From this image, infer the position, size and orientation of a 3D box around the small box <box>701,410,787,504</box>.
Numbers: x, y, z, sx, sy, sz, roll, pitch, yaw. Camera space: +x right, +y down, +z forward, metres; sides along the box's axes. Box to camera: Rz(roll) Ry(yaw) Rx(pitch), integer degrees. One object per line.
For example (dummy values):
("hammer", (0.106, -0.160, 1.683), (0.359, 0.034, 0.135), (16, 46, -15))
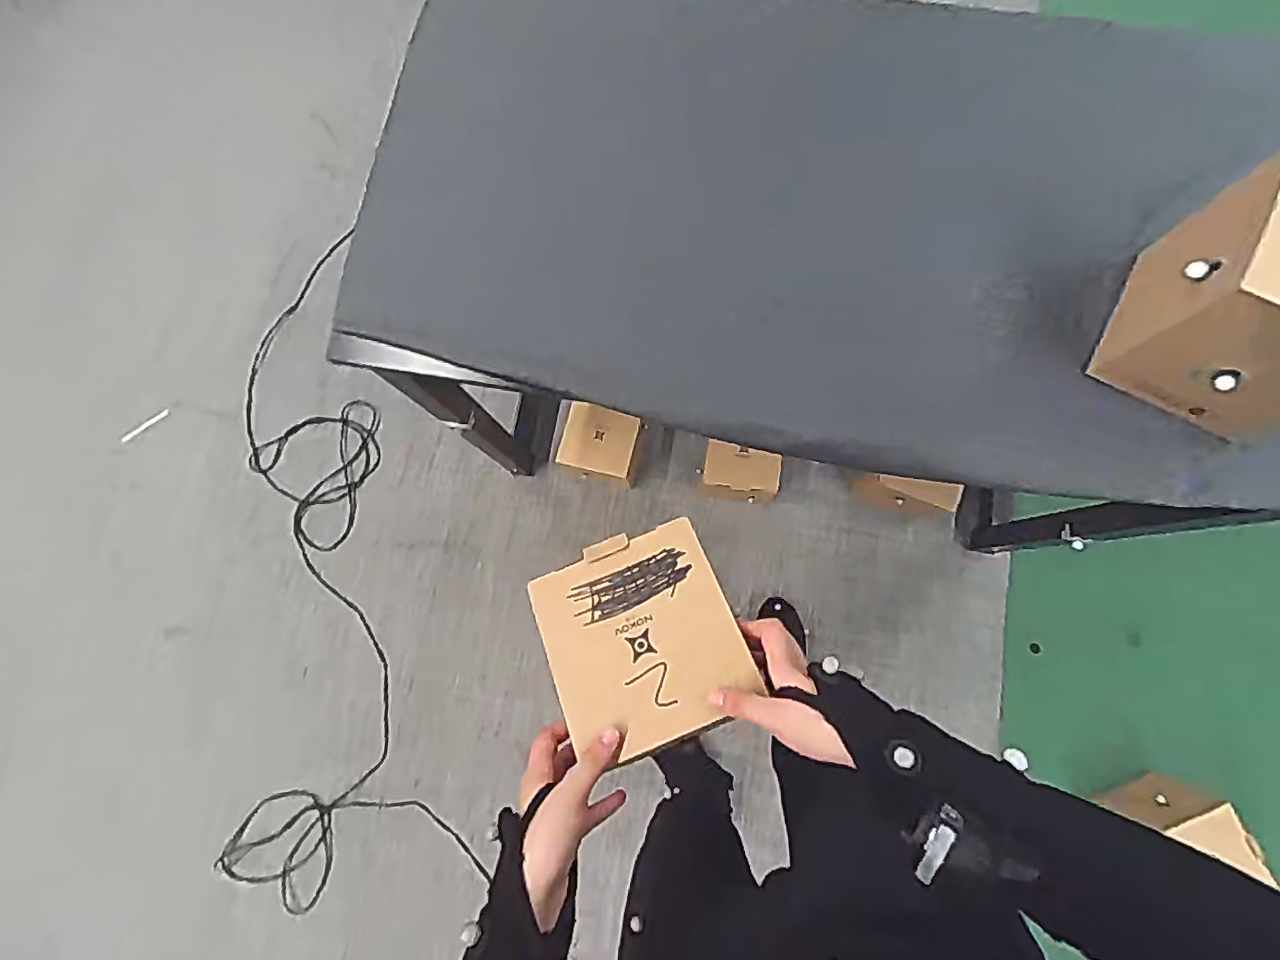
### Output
("small box", (0.235, -0.047, 1.259), (0.168, 0.176, 0.179), (8, 78, 4))

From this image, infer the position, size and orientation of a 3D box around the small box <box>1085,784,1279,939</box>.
("small box", (1.048, 0.734, 1.064), (0.179, 0.176, 0.168), (-21, 78, -2))

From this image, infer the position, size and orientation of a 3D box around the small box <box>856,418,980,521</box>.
("small box", (0.621, -0.015, 1.232), (0.179, 0.176, 0.168), (23, 81, 6))

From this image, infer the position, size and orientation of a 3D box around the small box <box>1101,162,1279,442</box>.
("small box", (0.601, -0.160, 0.515), (0.168, 0.176, 0.179), (31, 79, 8))

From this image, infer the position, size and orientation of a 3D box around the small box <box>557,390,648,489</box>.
("small box", (-0.080, -0.089, 1.285), (0.168, 0.176, 0.179), (14, 79, 6))
